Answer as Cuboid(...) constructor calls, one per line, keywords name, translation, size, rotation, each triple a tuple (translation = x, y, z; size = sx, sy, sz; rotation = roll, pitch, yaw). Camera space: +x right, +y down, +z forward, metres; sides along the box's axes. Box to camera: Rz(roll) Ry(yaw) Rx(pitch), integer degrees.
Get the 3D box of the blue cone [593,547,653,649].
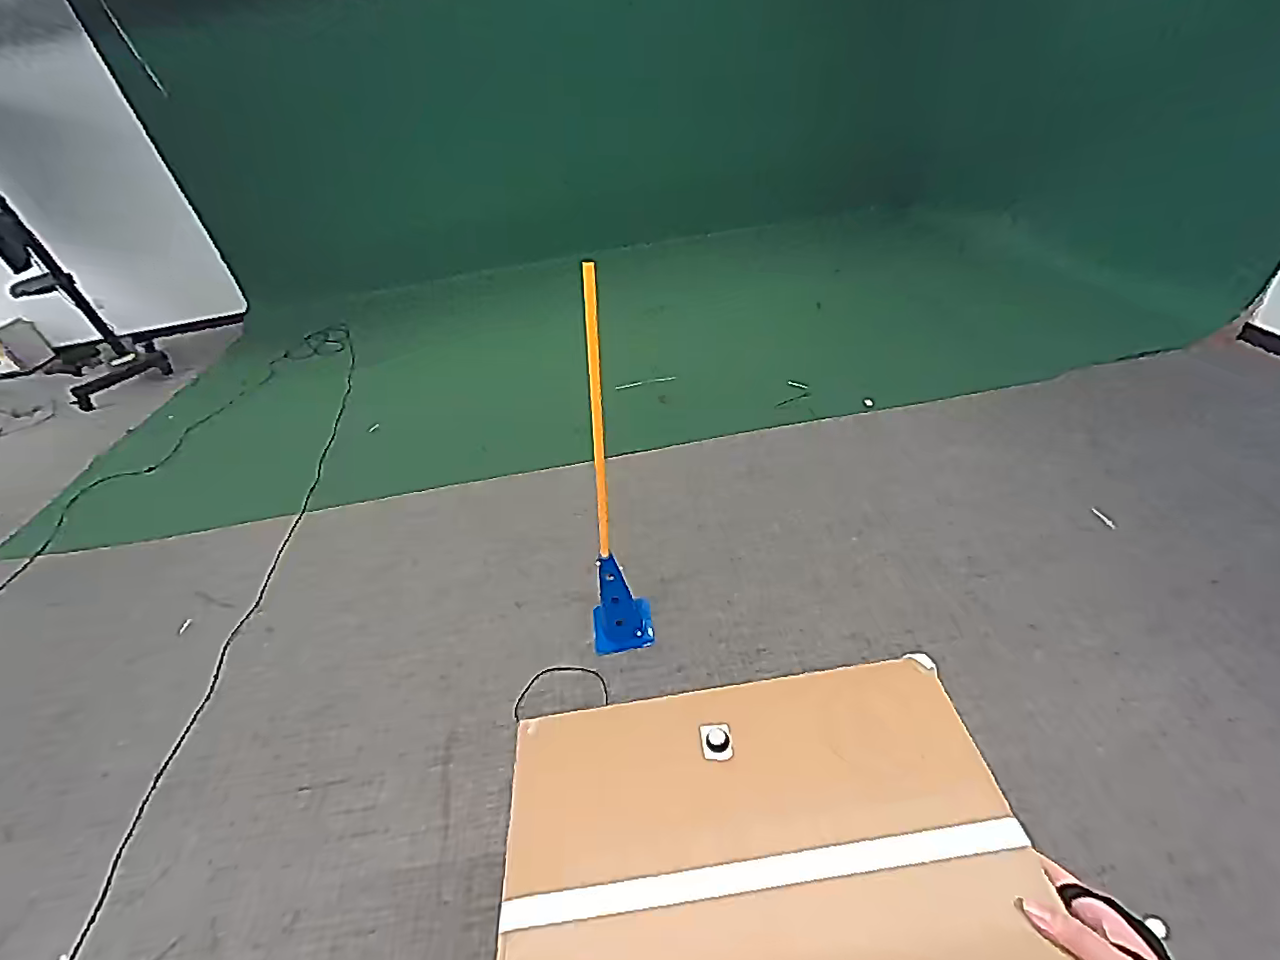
Cuboid(name="blue cone", translation=(-0.079, 0.349, 1.723), size=(0.193, 0.380, 0.192), rotation=(-11, 39, -3))
